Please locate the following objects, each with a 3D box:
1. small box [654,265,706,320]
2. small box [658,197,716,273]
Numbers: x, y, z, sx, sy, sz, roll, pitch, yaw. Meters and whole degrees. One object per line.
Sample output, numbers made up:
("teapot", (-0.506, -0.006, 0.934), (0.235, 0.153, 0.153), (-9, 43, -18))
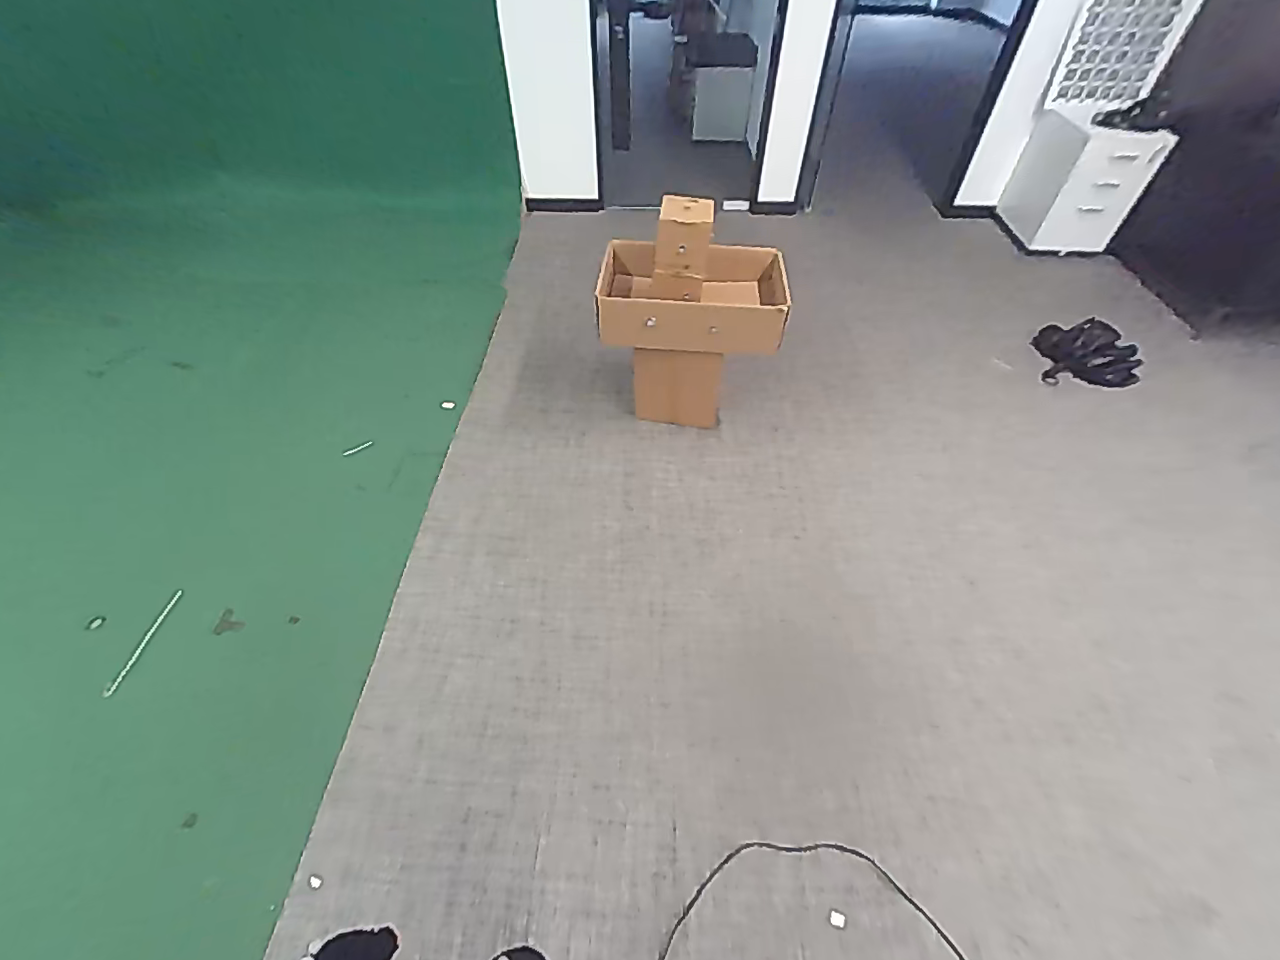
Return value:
("small box", (0.141, -0.675, 1.869), (0.168, 0.176, 0.179), (7, 47, 2))
("small box", (0.151, -0.791, 1.752), (0.168, 0.176, 0.179), (7, 50, 2))
